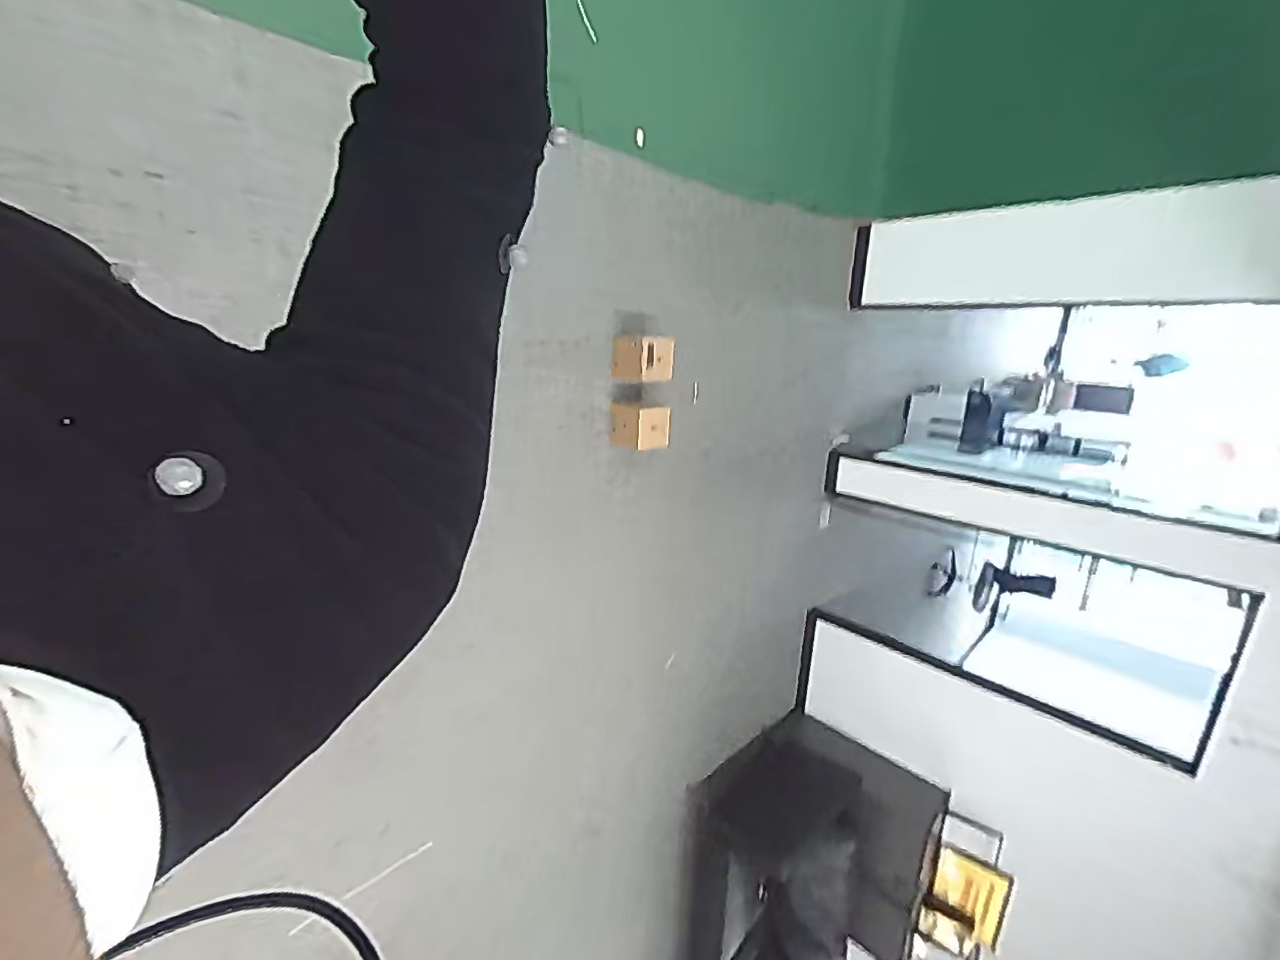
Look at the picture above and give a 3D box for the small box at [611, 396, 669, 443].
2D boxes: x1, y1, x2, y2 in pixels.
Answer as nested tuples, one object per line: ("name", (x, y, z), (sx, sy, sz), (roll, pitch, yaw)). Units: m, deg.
("small box", (-0.005, -0.251, 2.208), (0.179, 0.176, 0.168), (-13, 112, -43))
